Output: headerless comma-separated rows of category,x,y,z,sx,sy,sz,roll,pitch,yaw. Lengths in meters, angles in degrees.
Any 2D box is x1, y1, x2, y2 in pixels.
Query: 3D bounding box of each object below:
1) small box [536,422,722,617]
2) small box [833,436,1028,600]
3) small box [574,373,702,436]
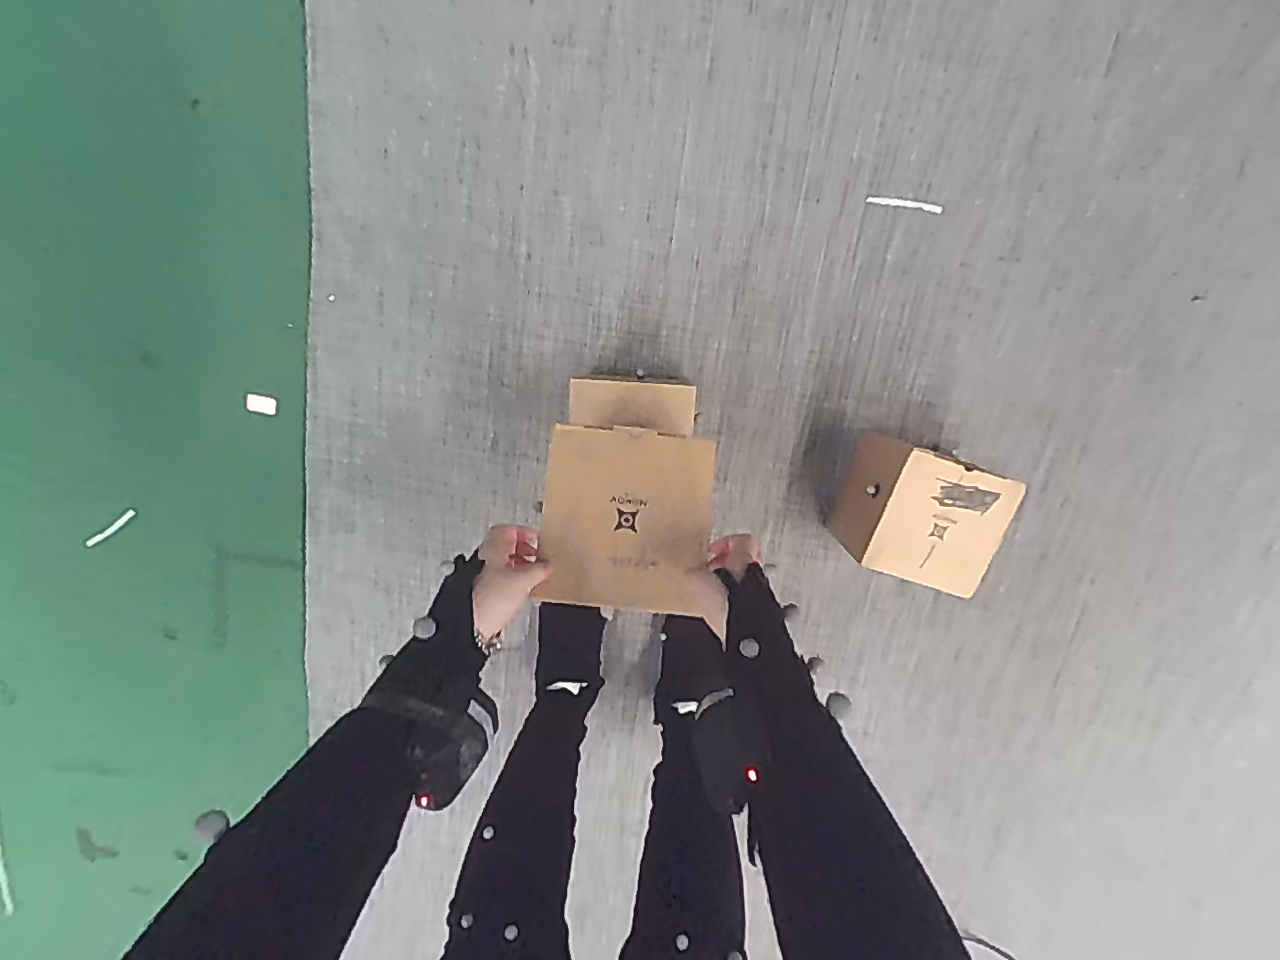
small box,-0.010,0.051,0.596,0.168,0.176,0.179,6,79,0
small box,0.409,0.044,0.798,0.168,0.176,0.179,17,103,-1
small box,-0.006,-0.063,0.789,0.168,0.176,0.179,4,103,1
